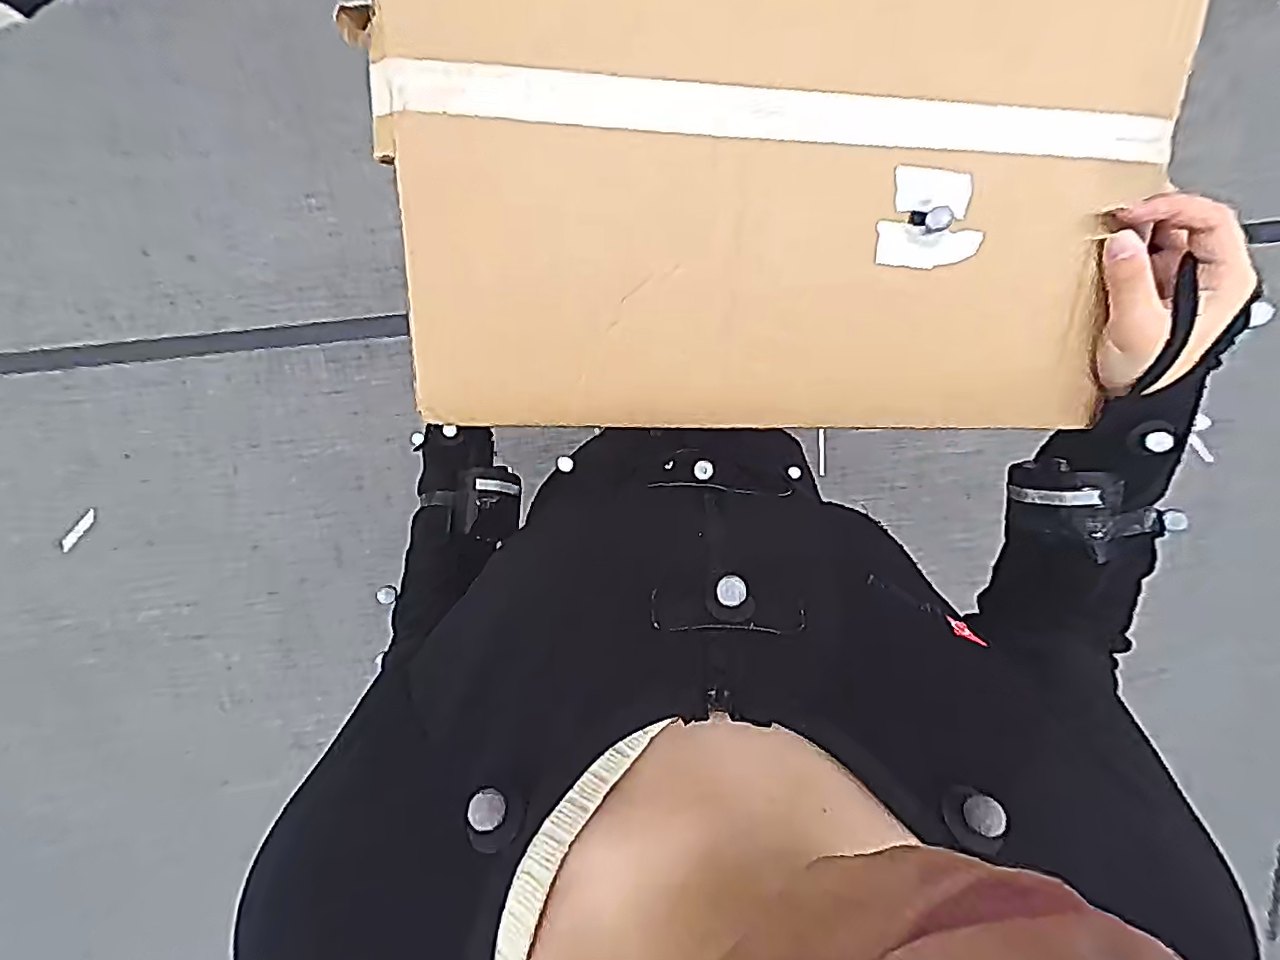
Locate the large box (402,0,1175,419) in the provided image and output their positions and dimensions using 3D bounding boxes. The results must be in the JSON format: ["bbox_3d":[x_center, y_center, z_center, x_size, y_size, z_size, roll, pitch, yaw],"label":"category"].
[{"bbox_3d":[0.065,-0.226,0.423,0.408,0.320,0.320,-1,106,-9],"label":"large box"}]
